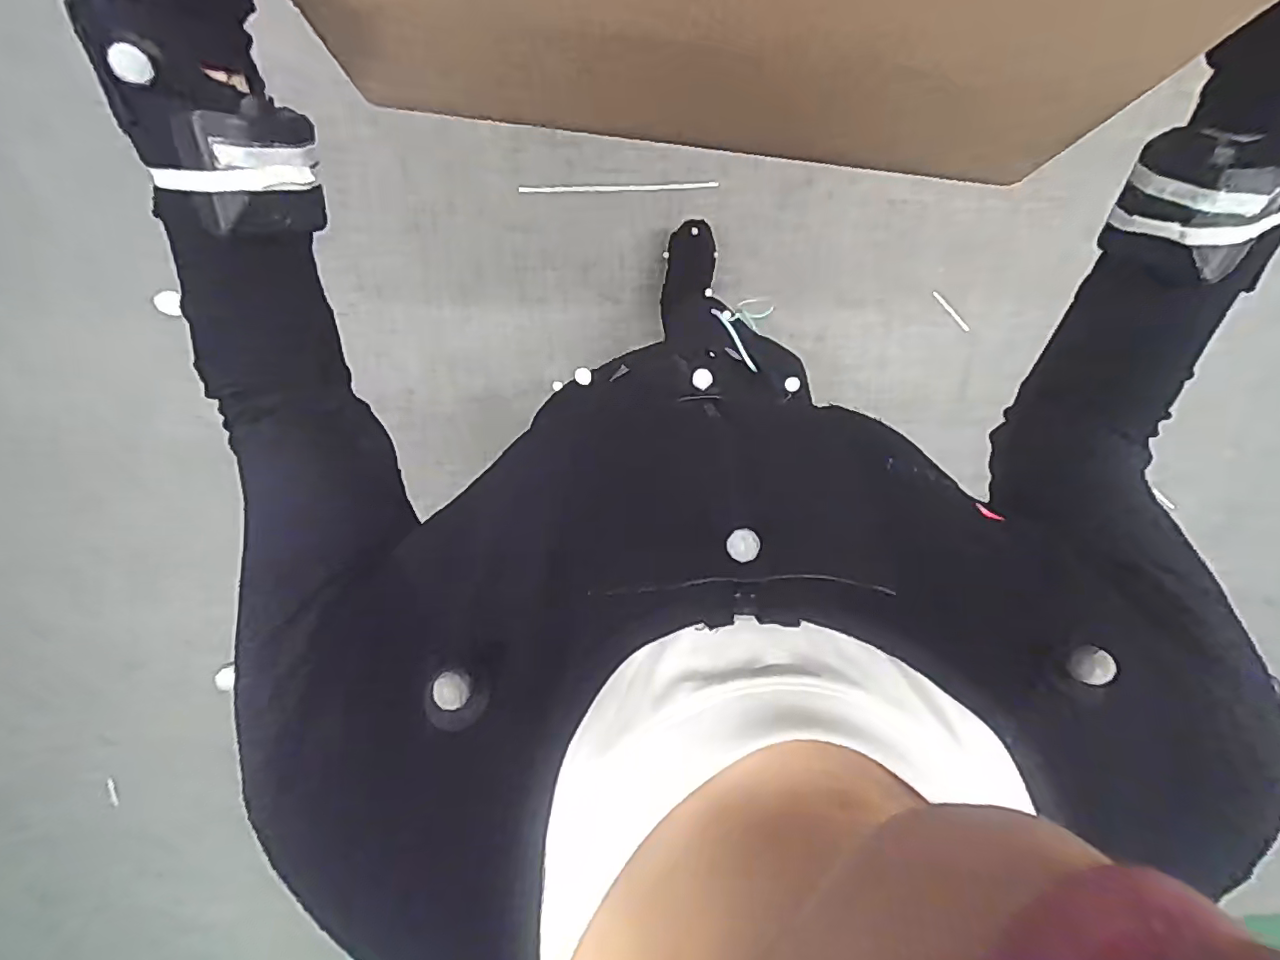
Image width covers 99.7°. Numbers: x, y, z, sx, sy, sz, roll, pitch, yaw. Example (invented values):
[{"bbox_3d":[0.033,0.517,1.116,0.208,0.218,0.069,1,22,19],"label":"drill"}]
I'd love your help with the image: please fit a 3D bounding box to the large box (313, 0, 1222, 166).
[{"bbox_3d":[0.053,-0.356,0.181,0.408,0.320,0.320,7,93,-1],"label":"large box"}]
